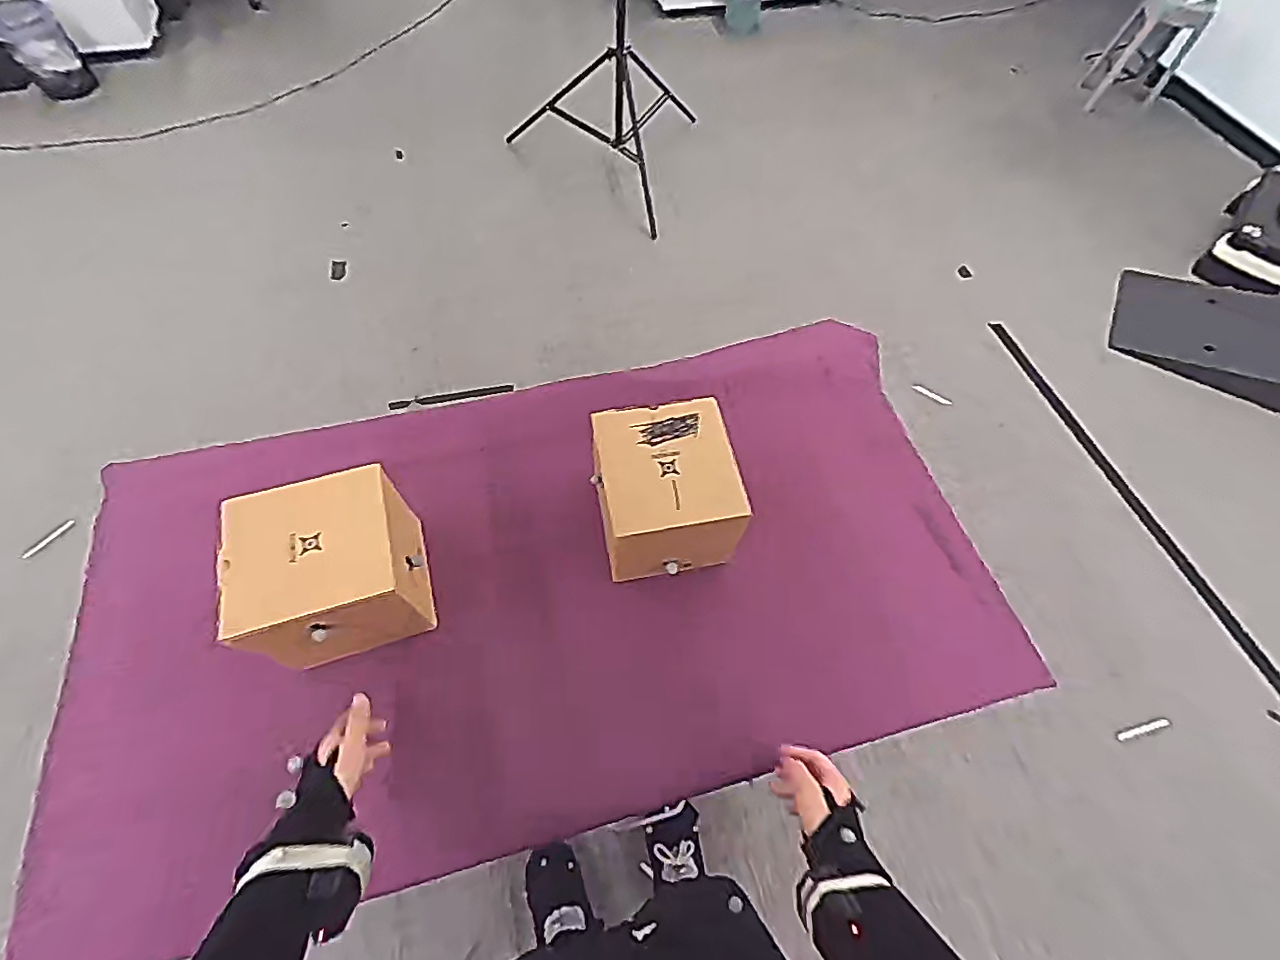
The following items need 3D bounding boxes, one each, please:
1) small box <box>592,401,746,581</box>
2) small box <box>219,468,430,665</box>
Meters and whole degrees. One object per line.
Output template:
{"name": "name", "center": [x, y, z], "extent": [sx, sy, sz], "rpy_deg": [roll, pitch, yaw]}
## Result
{"name": "small box", "center": [0.026, 0.019, 0.735], "extent": [0.168, 0.176, 0.179], "rpy_deg": [-9, 63, -7]}
{"name": "small box", "center": [-0.372, 0.112, 0.666], "extent": [0.179, 0.176, 0.168], "rpy_deg": [-16, 64, -11]}
